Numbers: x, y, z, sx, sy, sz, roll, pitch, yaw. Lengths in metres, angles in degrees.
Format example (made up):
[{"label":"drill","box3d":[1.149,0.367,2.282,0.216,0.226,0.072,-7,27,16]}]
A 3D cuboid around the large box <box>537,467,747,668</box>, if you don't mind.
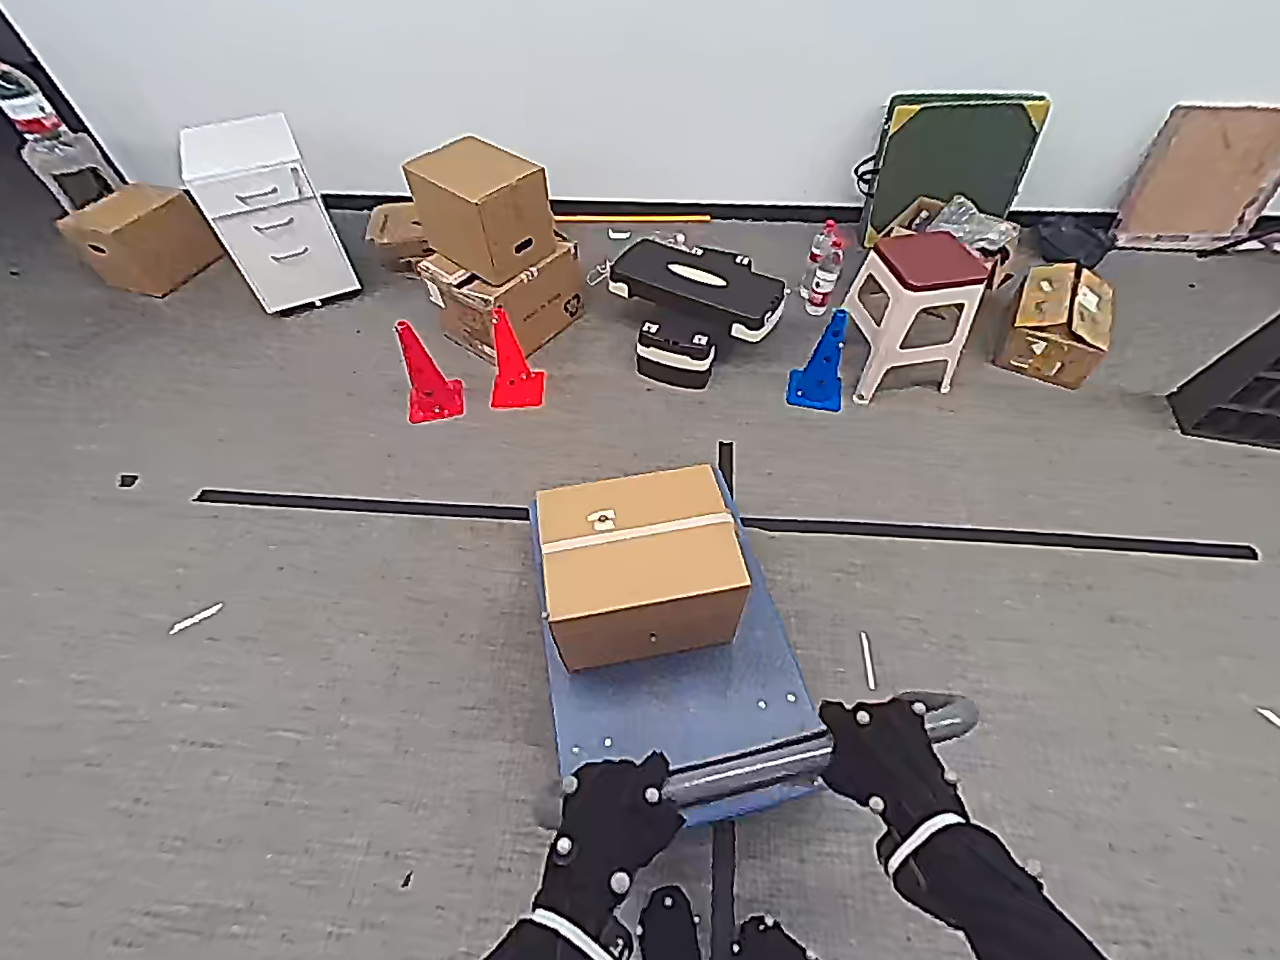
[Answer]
[{"label":"large box","box3d":[-0.003,0.210,1.259,0.408,0.320,0.320,-10,54,-5]}]
